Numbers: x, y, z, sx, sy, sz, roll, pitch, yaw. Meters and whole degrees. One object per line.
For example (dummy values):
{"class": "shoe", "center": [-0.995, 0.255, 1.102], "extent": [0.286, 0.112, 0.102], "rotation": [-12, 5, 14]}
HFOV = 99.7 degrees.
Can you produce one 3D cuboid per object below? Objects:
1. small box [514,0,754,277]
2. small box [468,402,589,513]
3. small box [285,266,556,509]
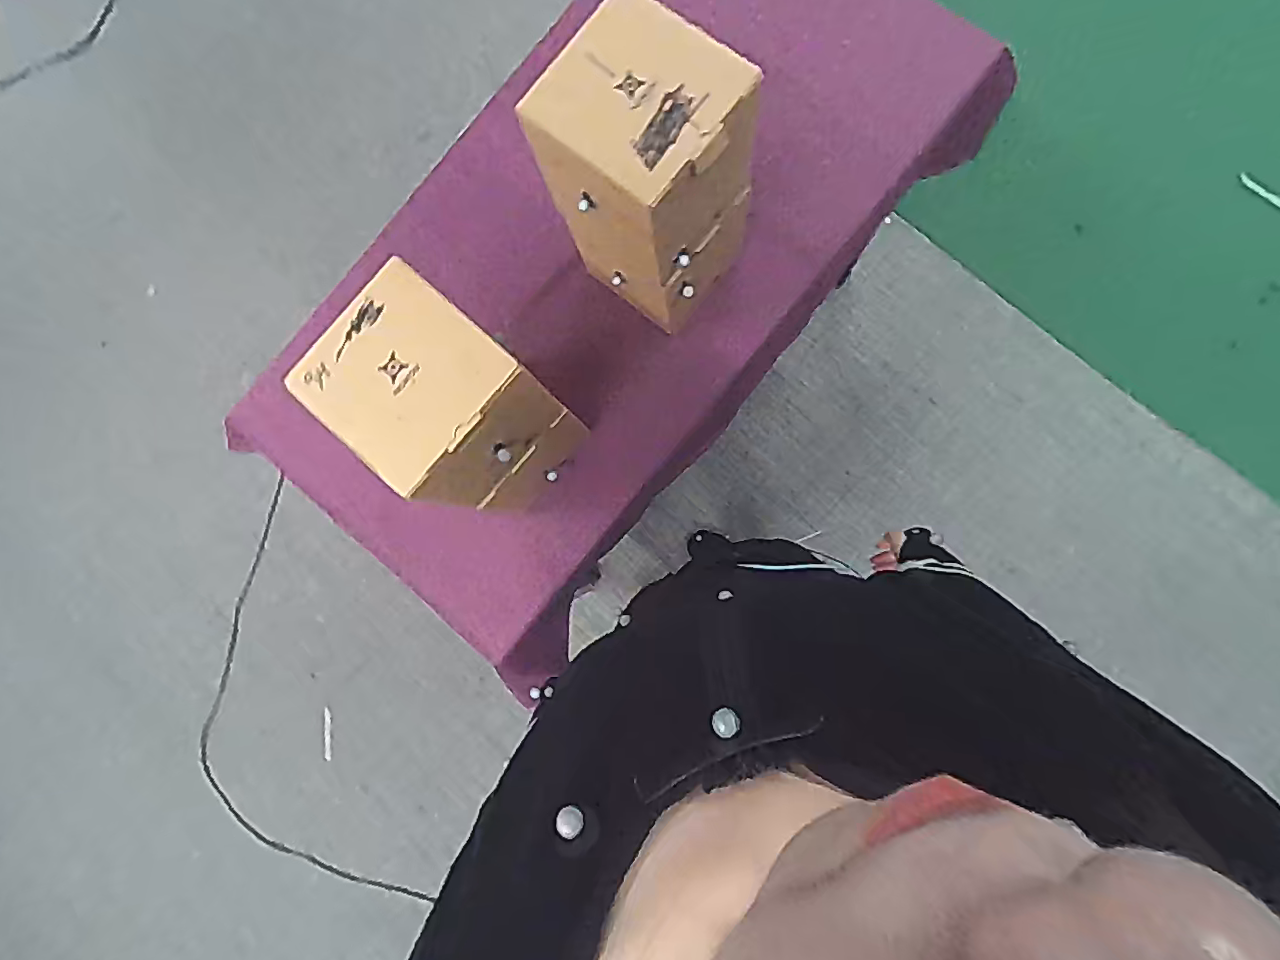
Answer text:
{"class": "small box", "center": [0.002, -0.354, 0.592], "extent": [0.179, 0.176, 0.168], "rotation": [39, 89, 10]}
{"class": "small box", "center": [-0.197, -0.064, 0.749], "extent": [0.179, 0.176, 0.168], "rotation": [40, 90, 8]}
{"class": "small box", "center": [-0.216, -0.084, 0.586], "extent": [0.179, 0.176, 0.168], "rotation": [40, 89, 8]}
